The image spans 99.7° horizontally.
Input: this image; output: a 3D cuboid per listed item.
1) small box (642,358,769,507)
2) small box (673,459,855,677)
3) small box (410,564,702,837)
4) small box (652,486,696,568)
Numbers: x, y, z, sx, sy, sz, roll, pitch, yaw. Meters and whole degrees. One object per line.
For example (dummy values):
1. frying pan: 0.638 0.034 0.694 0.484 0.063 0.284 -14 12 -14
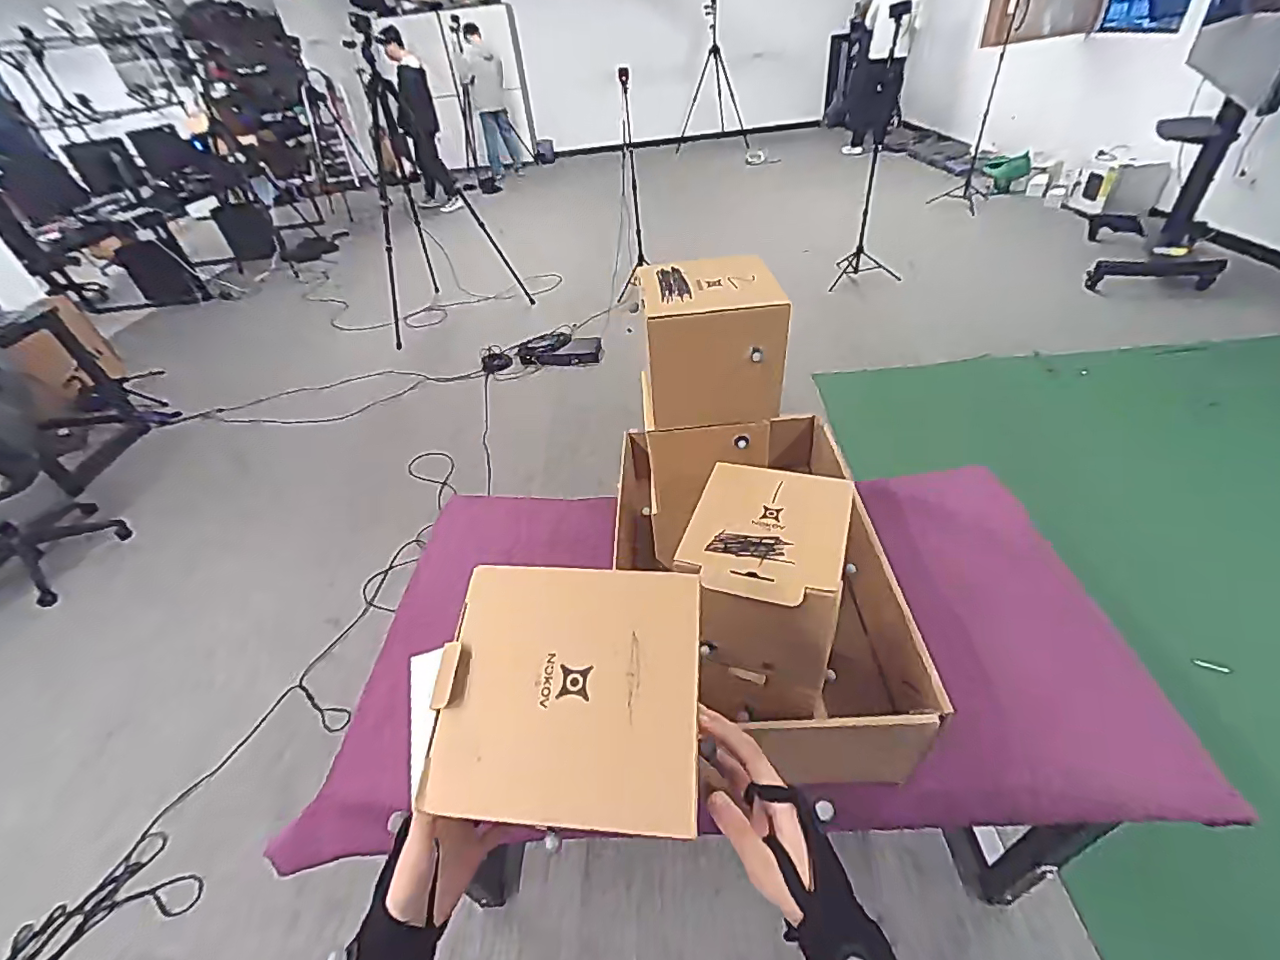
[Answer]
1. small box: 0.100 -0.072 0.857 0.179 0.176 0.168 -5 42 2
2. small box: 0.150 0.101 0.639 0.168 0.176 0.179 9 41 21
3. small box: -0.042 0.179 0.430 0.179 0.176 0.168 1 57 7
4. small box: 0.111 0.046 0.967 0.168 0.176 0.179 -4 42 4
